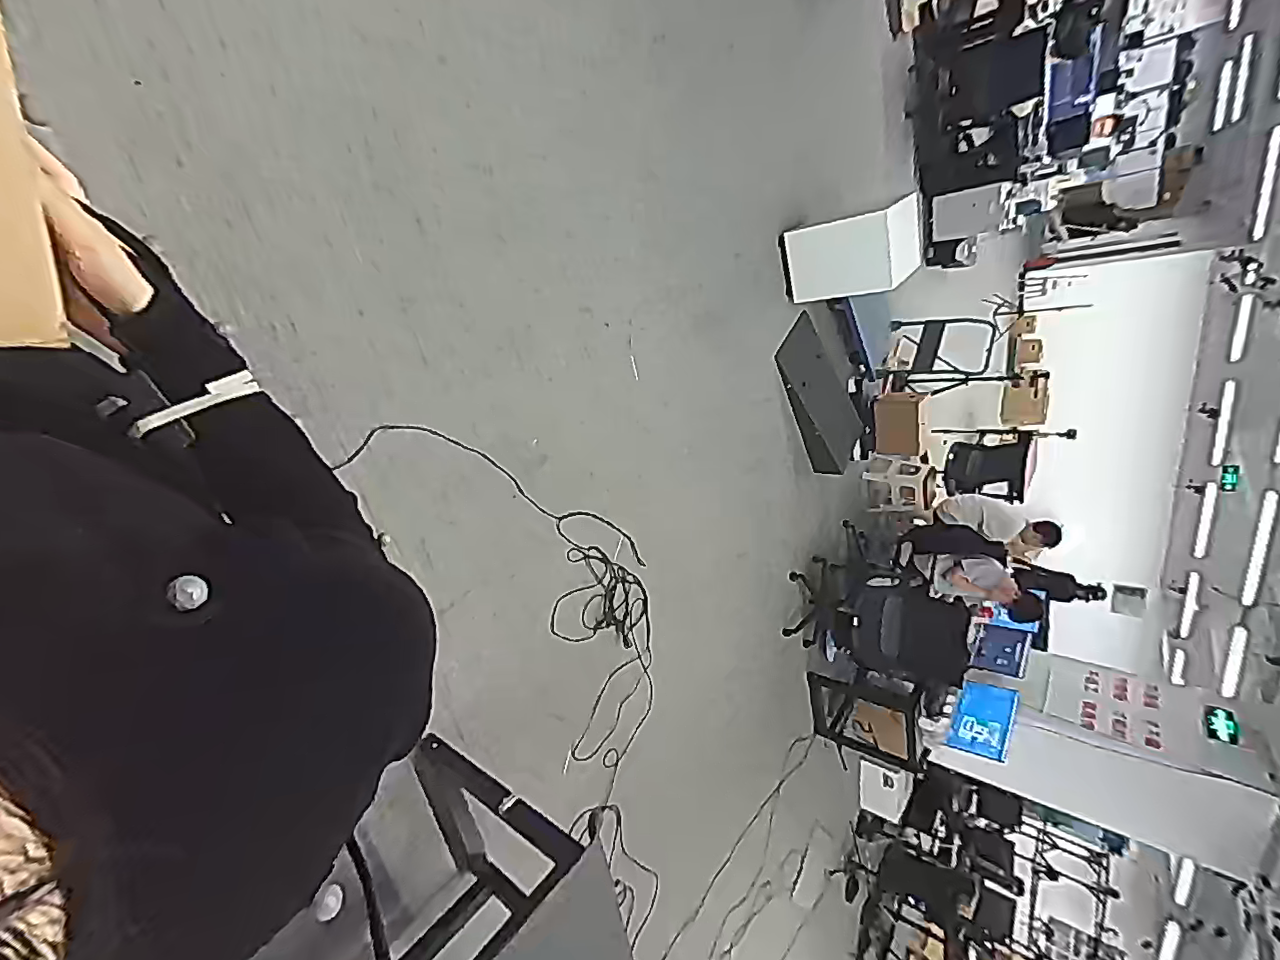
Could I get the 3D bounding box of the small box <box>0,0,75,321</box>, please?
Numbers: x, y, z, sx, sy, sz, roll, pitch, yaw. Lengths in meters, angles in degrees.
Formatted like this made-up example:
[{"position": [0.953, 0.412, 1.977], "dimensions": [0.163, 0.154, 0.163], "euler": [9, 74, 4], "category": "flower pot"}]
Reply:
[{"position": [-0.430, -0.177, 0.269], "dimensions": [0.168, 0.176, 0.179], "euler": [-16, 112, -52], "category": "small box"}]
